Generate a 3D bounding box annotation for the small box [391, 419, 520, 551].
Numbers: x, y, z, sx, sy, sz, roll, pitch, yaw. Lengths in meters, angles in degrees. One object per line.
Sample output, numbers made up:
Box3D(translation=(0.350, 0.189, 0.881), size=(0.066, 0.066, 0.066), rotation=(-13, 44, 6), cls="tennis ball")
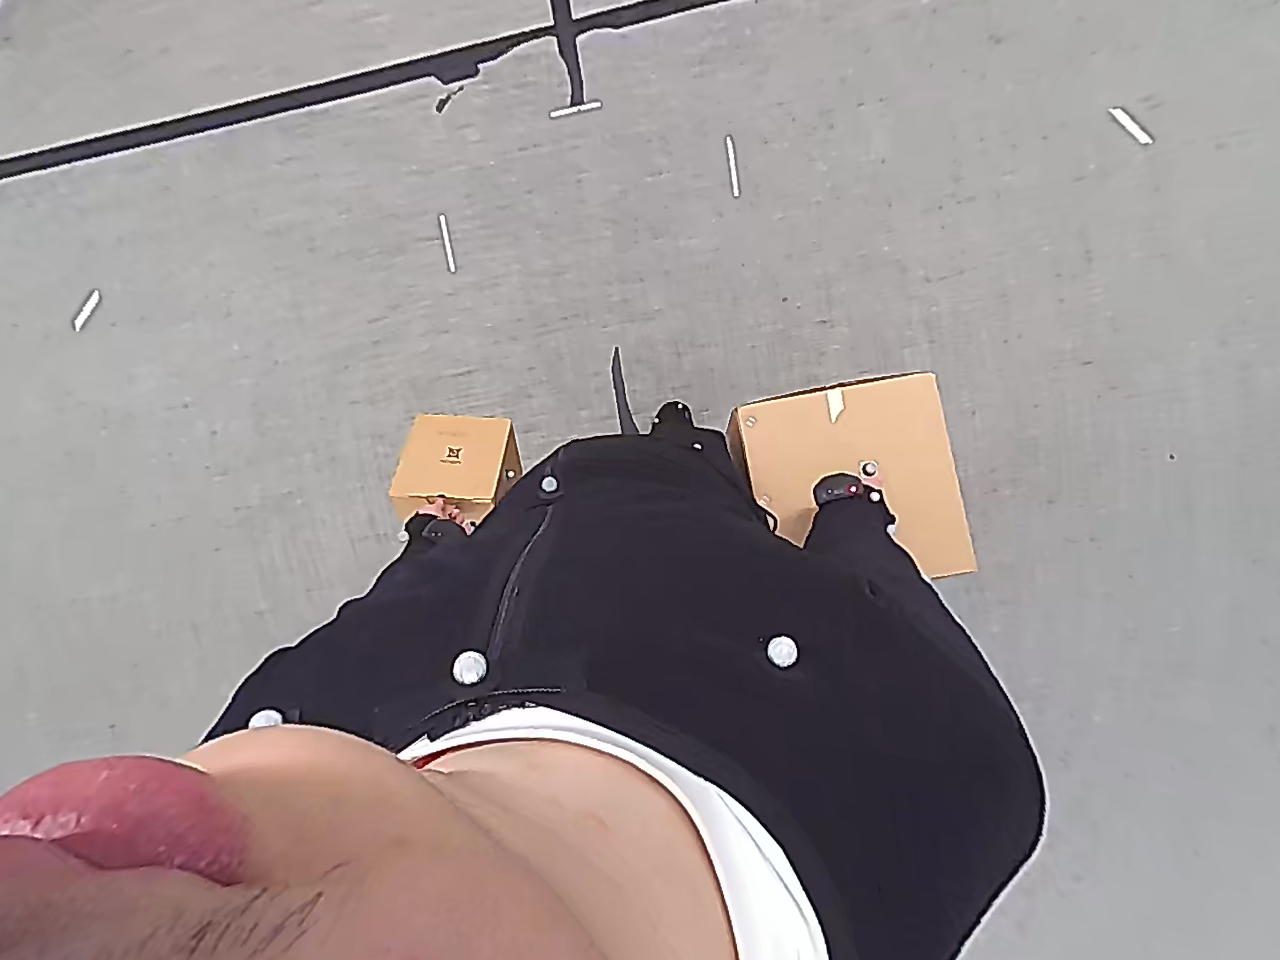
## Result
Box3D(translation=(-0.315, 0.013, 0.966), size=(0.168, 0.176, 0.179), rotation=(3, 53, -2), cls="small box")
